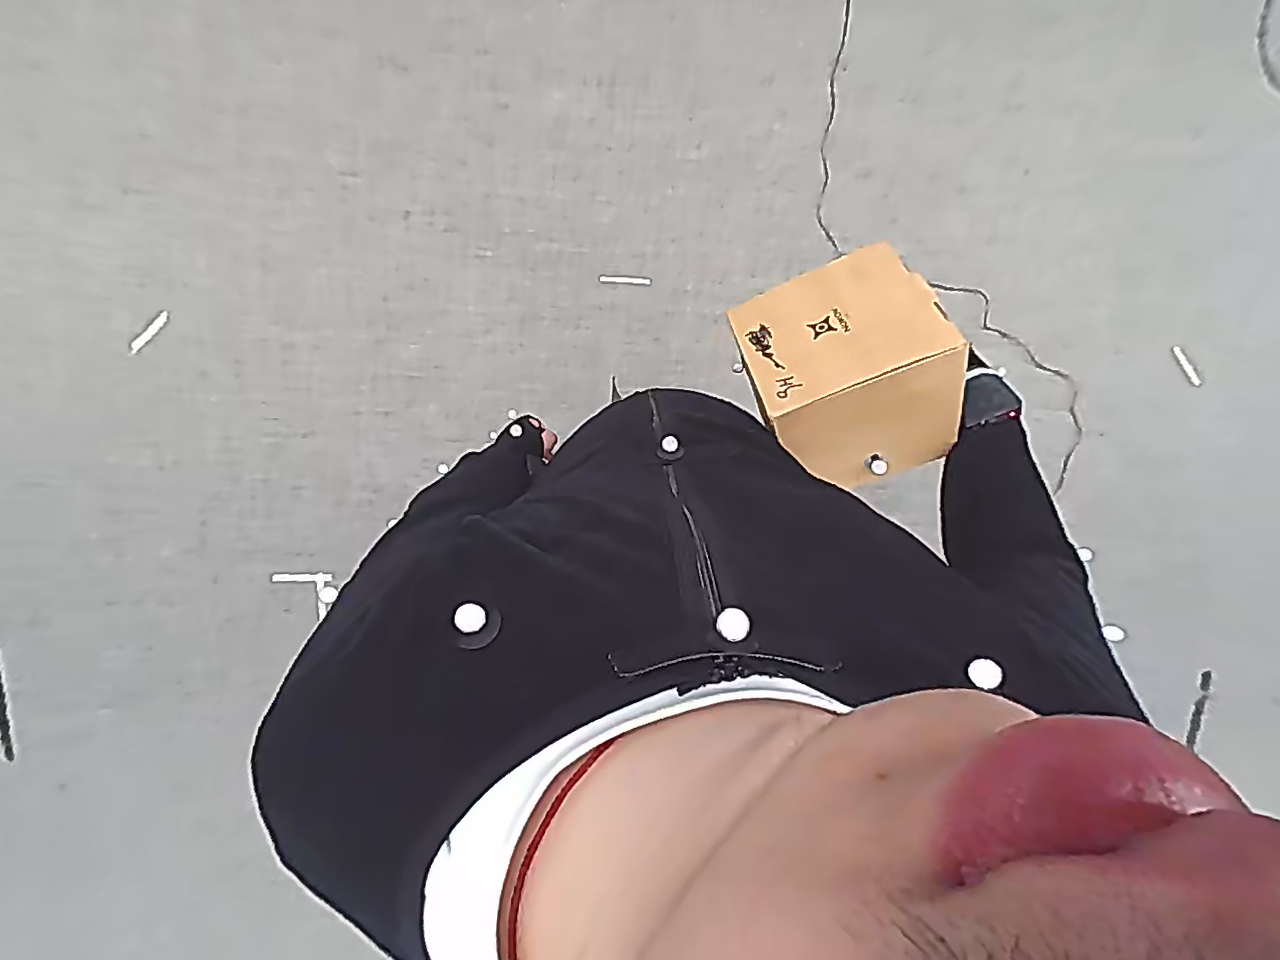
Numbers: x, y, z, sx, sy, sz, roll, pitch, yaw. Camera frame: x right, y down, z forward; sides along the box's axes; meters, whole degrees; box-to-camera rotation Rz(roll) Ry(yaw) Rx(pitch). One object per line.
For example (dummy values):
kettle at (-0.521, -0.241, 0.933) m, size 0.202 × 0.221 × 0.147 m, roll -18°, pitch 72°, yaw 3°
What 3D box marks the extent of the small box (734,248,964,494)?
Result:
small box at (0.223, -0.111, 0.600) m, size 0.179 × 0.168 × 0.176 m, roll -20°, pitch 141°, yaw 12°
